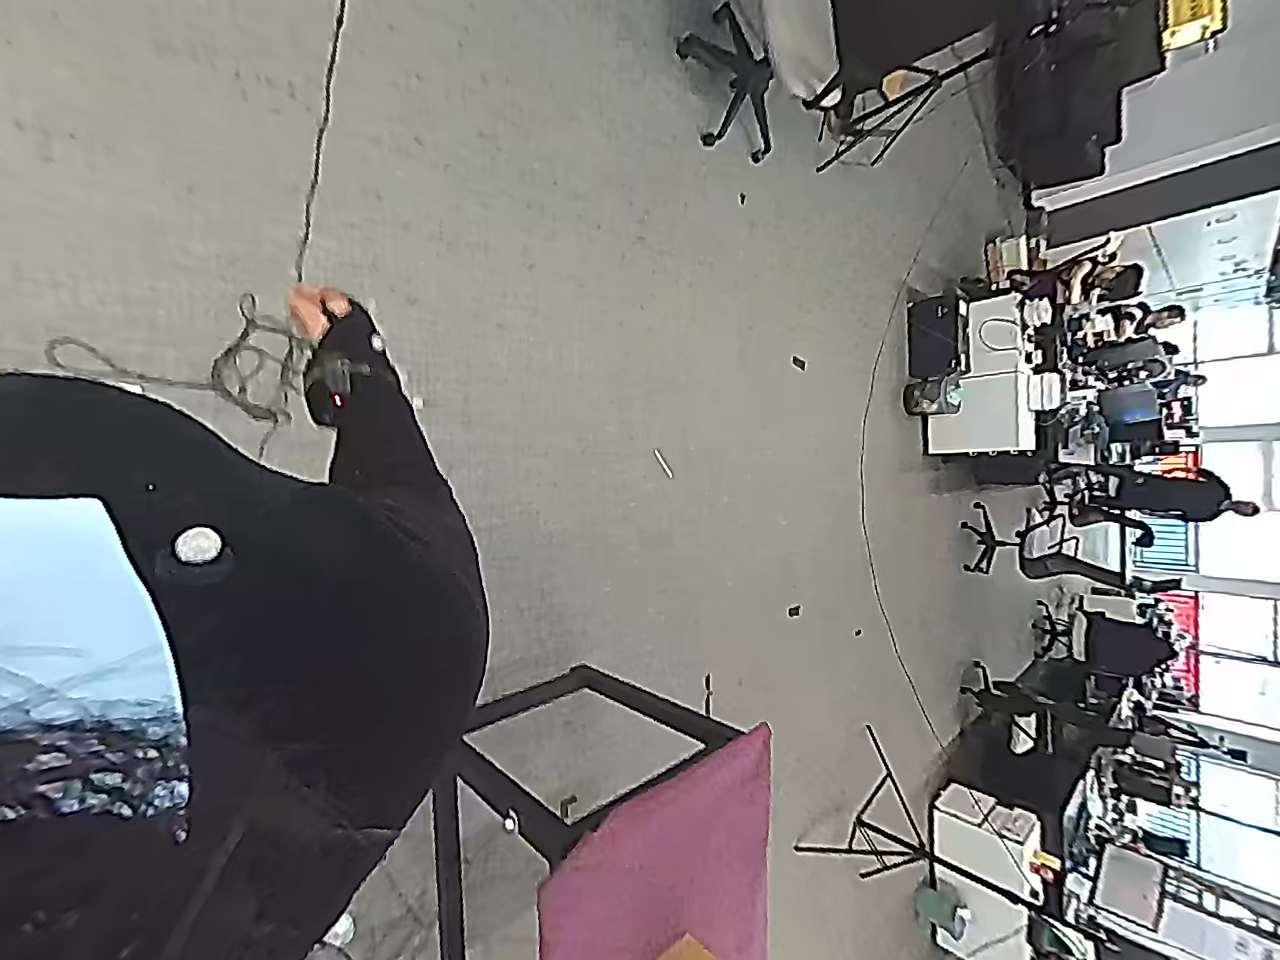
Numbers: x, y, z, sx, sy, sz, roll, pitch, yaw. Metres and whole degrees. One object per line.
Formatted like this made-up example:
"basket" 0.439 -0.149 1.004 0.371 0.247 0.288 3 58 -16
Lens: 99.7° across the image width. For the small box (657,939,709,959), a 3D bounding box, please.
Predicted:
"small box" 0.096 1.081 1.068 0.168 0.176 0.179 -1 91 -43
